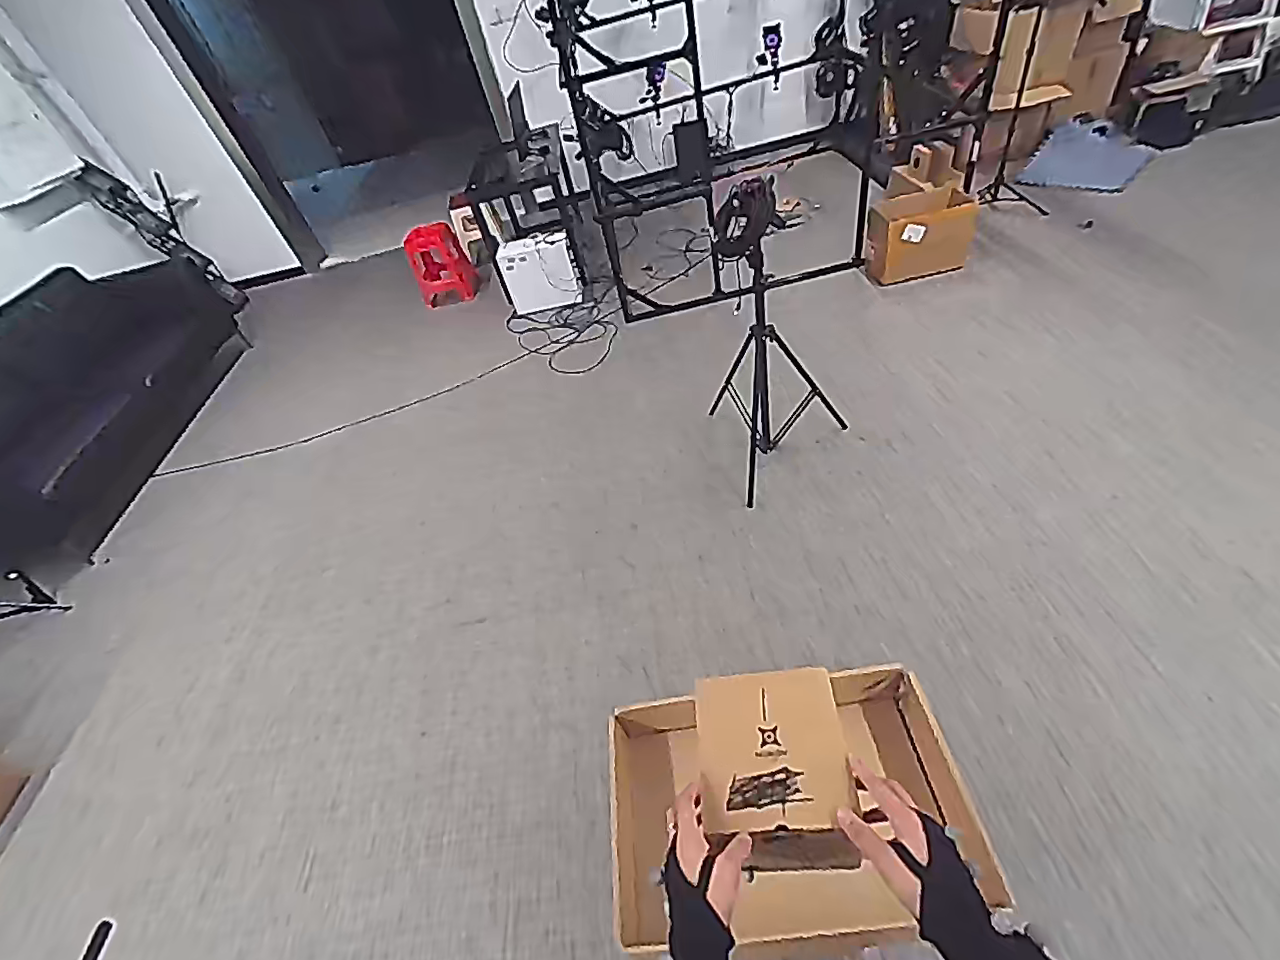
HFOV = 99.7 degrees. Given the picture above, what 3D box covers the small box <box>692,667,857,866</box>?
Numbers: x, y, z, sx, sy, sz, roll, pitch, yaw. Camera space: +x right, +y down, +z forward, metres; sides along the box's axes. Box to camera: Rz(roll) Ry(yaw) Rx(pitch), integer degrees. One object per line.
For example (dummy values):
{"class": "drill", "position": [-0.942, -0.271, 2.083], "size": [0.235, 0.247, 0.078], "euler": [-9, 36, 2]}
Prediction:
{"class": "small box", "position": [0.162, 0.357, 0.665], "size": [0.168, 0.176, 0.179], "euler": [-10, 42, 10]}
